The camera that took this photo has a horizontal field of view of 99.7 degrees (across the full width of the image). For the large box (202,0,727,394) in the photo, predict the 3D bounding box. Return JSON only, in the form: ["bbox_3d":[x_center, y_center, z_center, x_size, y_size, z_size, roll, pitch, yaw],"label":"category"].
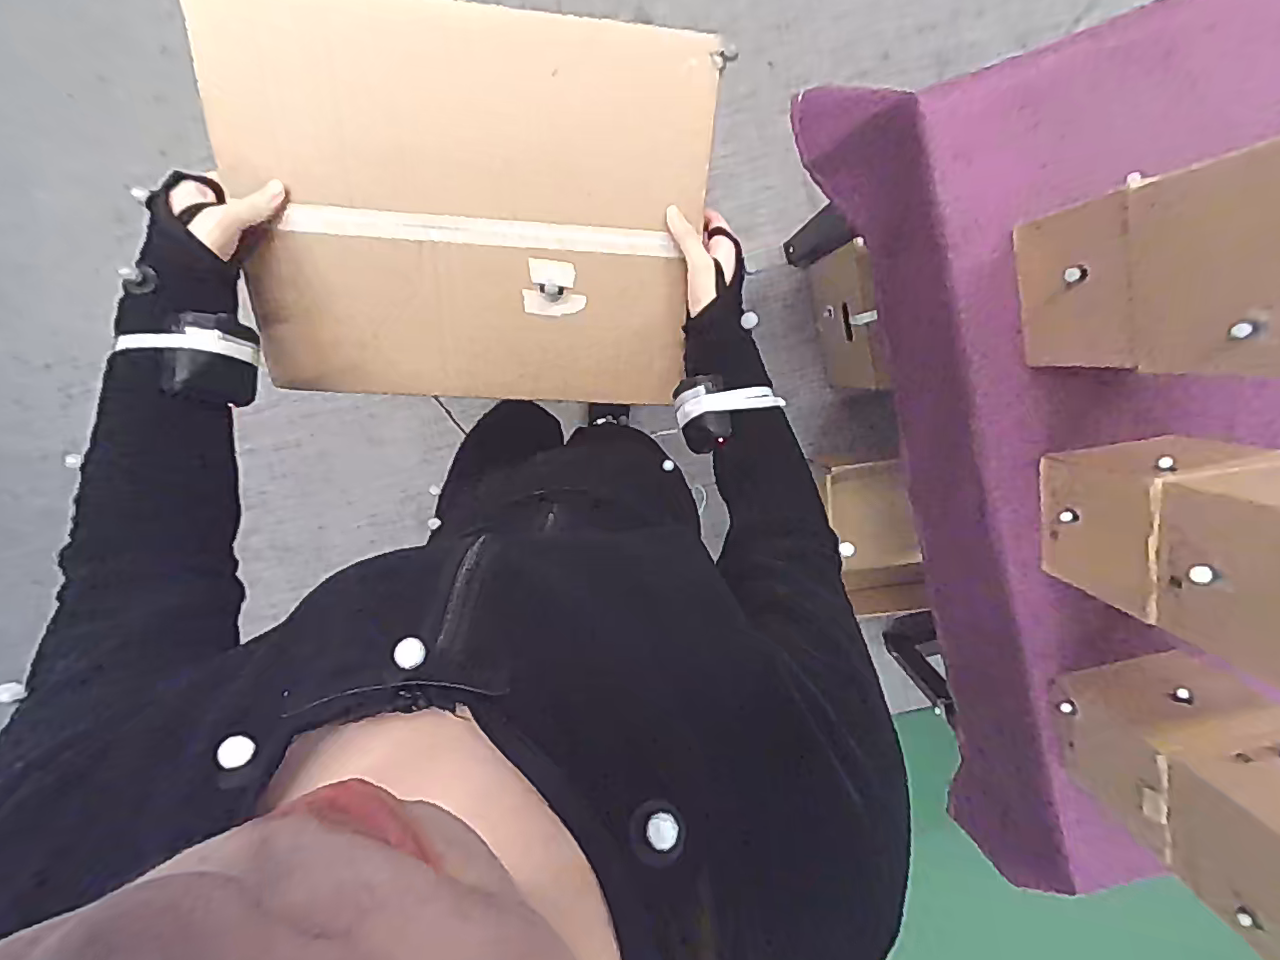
[{"bbox_3d":[-0.153,-0.296,0.611,0.408,0.320,0.320,2,118,-8],"label":"large box"}]

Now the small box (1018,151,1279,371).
[{"bbox_3d":[0.556,-0.223,0.599,0.168,0.176,0.179,-13,101,4],"label":"small box"}]

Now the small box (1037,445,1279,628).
[{"bbox_3d":[0.634,0.058,0.662,0.179,0.176,0.168,-9,102,3],"label":"small box"}]

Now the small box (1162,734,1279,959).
[{"bbox_3d":[0.704,0.403,0.567,0.168,0.176,0.179,-12,101,2],"label":"small box"}]

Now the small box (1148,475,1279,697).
[{"bbox_3d":[0.639,0.093,0.501,0.179,0.176,0.168,-8,102,3],"label":"small box"}]

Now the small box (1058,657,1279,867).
[{"bbox_3d":[0.703,0.365,0.726,0.179,0.176,0.168,-13,102,2],"label":"small box"}]
